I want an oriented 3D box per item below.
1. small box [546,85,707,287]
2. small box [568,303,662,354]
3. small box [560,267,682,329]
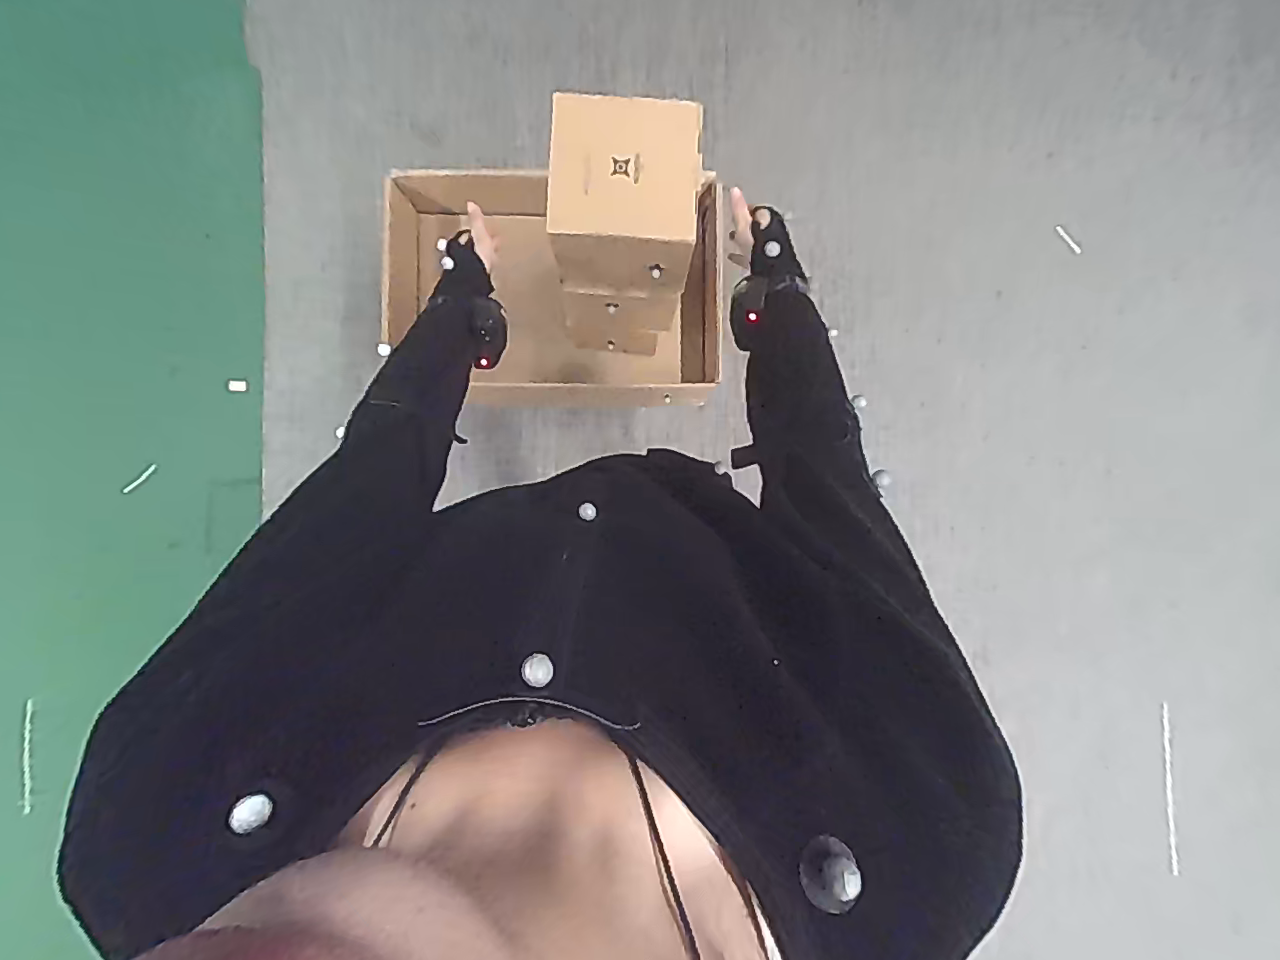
[{"bbox_3d":[-0.016,-0.359,0.692,0.179,0.176,0.168,4,88,0],"label":"small box"},{"bbox_3d":[-0.035,-0.346,1.019,0.168,0.176,0.179,5,89,0],"label":"small box"},{"bbox_3d":[-0.022,-0.346,0.855,0.179,0.176,0.168,4,89,0],"label":"small box"}]
